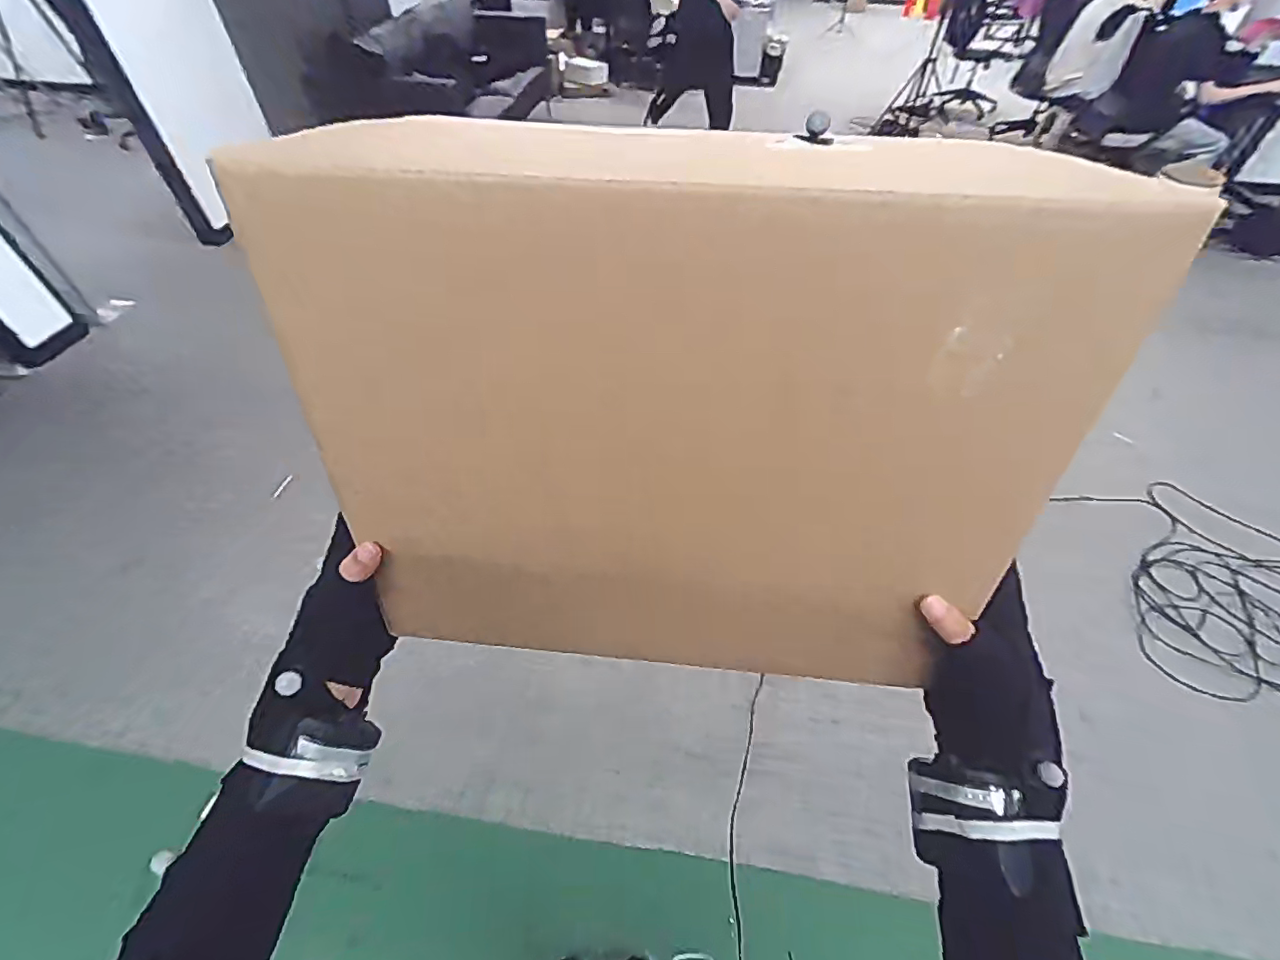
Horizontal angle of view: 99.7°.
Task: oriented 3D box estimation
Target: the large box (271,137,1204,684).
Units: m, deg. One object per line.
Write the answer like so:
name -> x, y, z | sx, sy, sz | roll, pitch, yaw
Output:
large box -> 0.038, -0.073, 0.432 | 0.408, 0.320, 0.320 | 6, 36, 2
